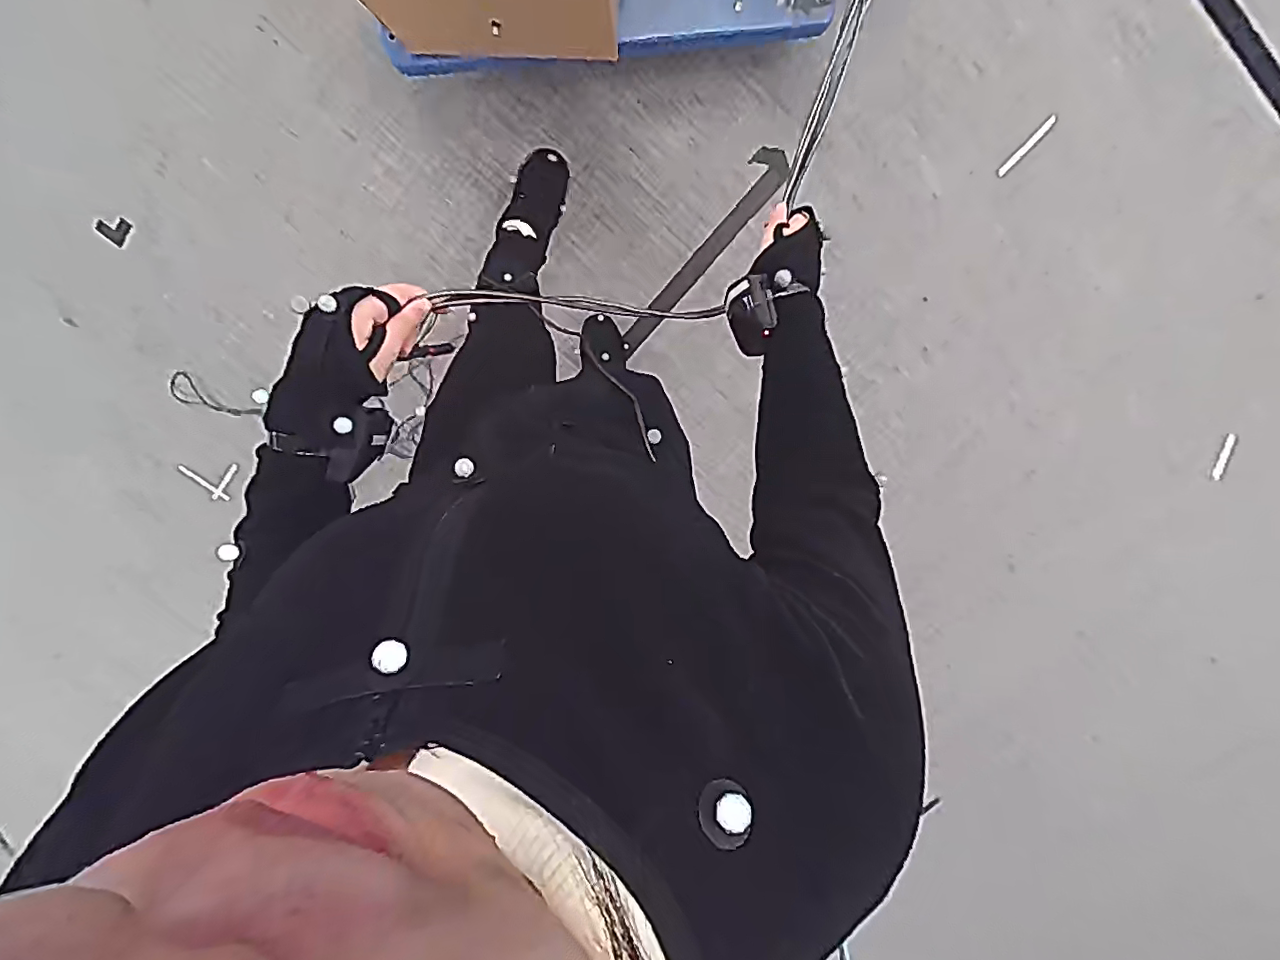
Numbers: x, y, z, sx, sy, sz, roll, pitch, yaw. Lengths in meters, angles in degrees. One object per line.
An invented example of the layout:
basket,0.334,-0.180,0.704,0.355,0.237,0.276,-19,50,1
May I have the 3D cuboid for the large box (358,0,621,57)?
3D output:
large box,-0.239,-0.907,0.849,0.408,0.320,0.320,2,108,1
